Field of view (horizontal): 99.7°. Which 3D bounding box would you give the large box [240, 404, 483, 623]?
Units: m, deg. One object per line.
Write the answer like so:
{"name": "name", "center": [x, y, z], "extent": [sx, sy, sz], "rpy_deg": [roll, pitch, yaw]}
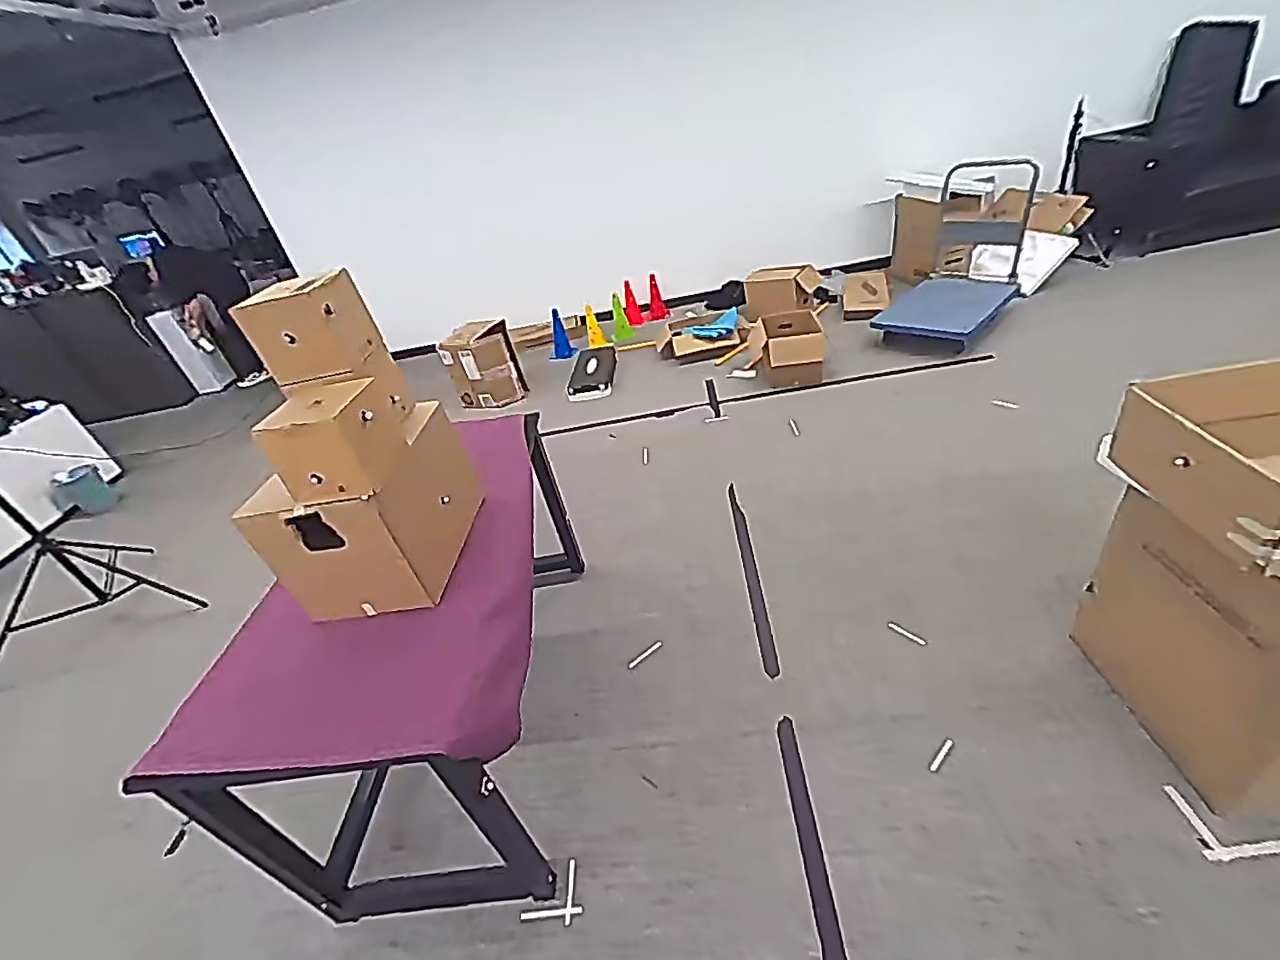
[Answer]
{"name": "large box", "center": [-0.609, 0.069, 1.284], "extent": [0.320, 0.320, 0.408], "rpy_deg": [-10, 35, 8]}

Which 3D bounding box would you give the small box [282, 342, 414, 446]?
{"name": "small box", "center": [-0.655, -0.193, 1.236], "extent": [0.179, 0.176, 0.168], "rpy_deg": [-9, 36, 7]}
